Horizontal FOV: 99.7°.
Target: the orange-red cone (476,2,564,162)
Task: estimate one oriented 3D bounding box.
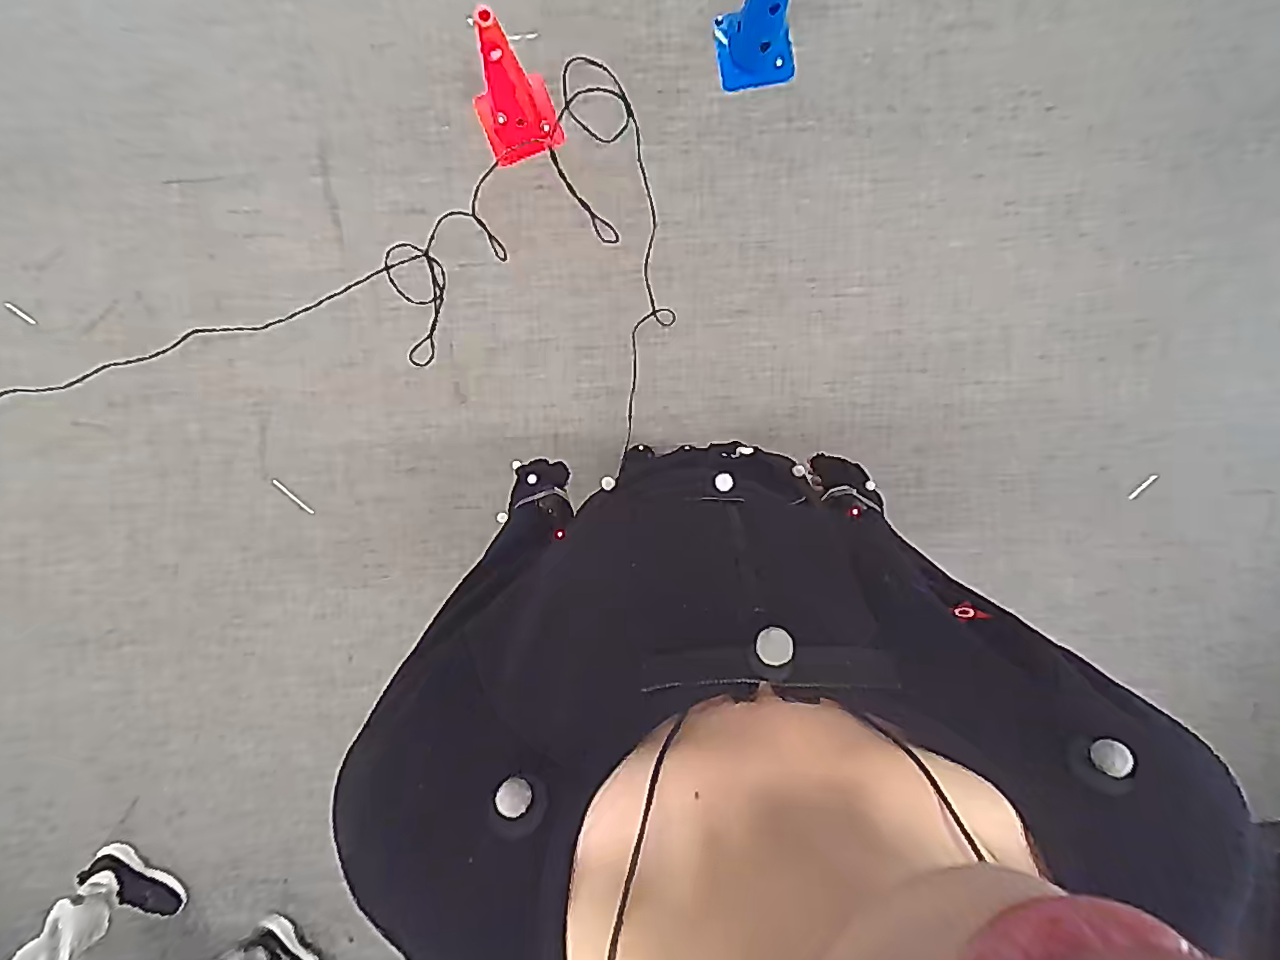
[{"bbox_3d":[-0.319,-0.967,1.279,0.198,0.360,0.199,-21,91,0],"label":"orange-red cone"}]
